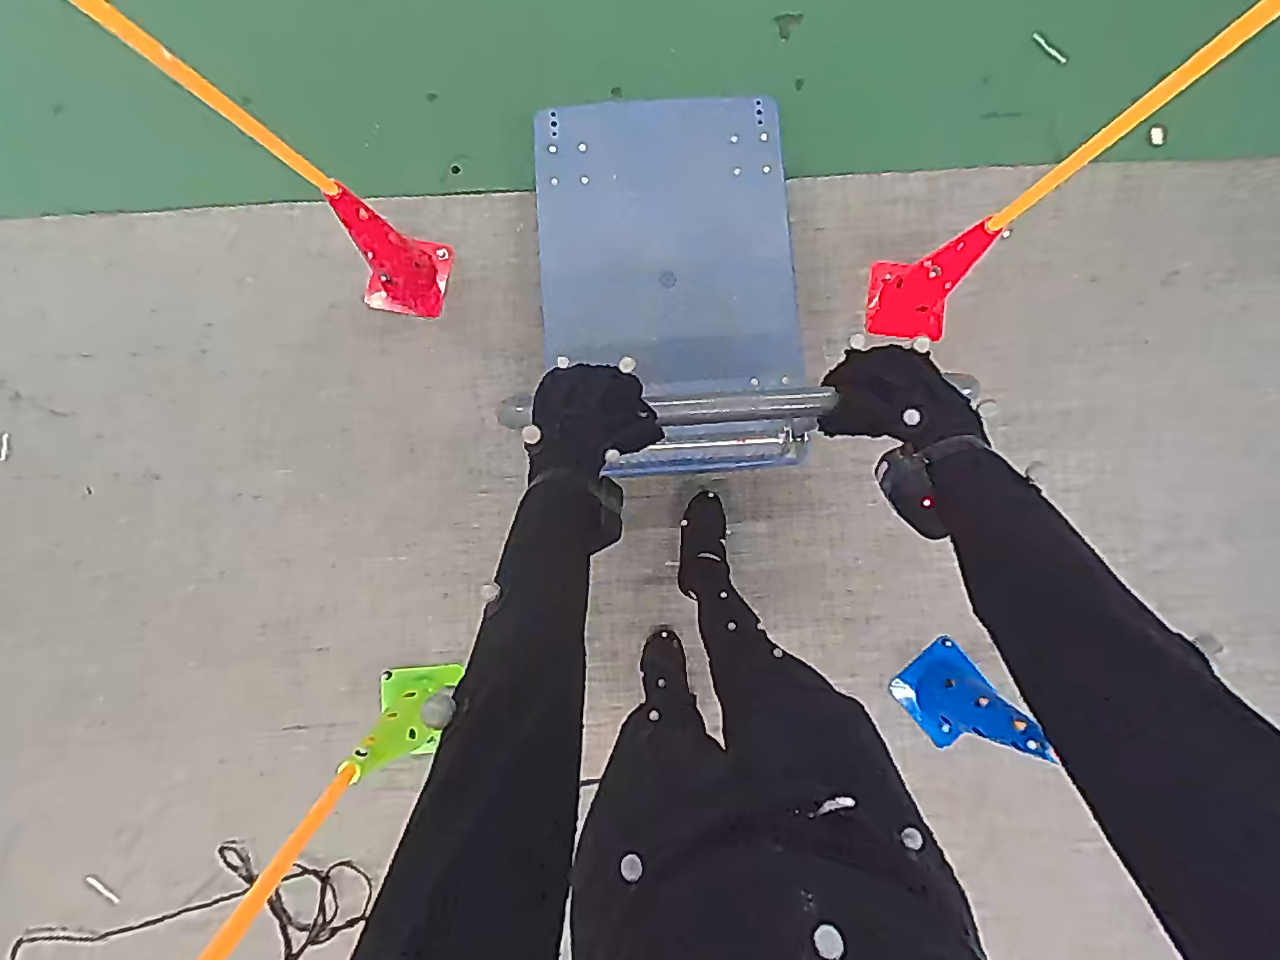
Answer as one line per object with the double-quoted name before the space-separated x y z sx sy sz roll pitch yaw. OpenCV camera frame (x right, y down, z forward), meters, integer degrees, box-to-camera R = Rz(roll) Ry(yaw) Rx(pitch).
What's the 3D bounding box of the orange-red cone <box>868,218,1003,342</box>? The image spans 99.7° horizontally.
"orange-red cone" 0.698 -0.478 1.234 0.198 0.360 0.199 8 85 1
